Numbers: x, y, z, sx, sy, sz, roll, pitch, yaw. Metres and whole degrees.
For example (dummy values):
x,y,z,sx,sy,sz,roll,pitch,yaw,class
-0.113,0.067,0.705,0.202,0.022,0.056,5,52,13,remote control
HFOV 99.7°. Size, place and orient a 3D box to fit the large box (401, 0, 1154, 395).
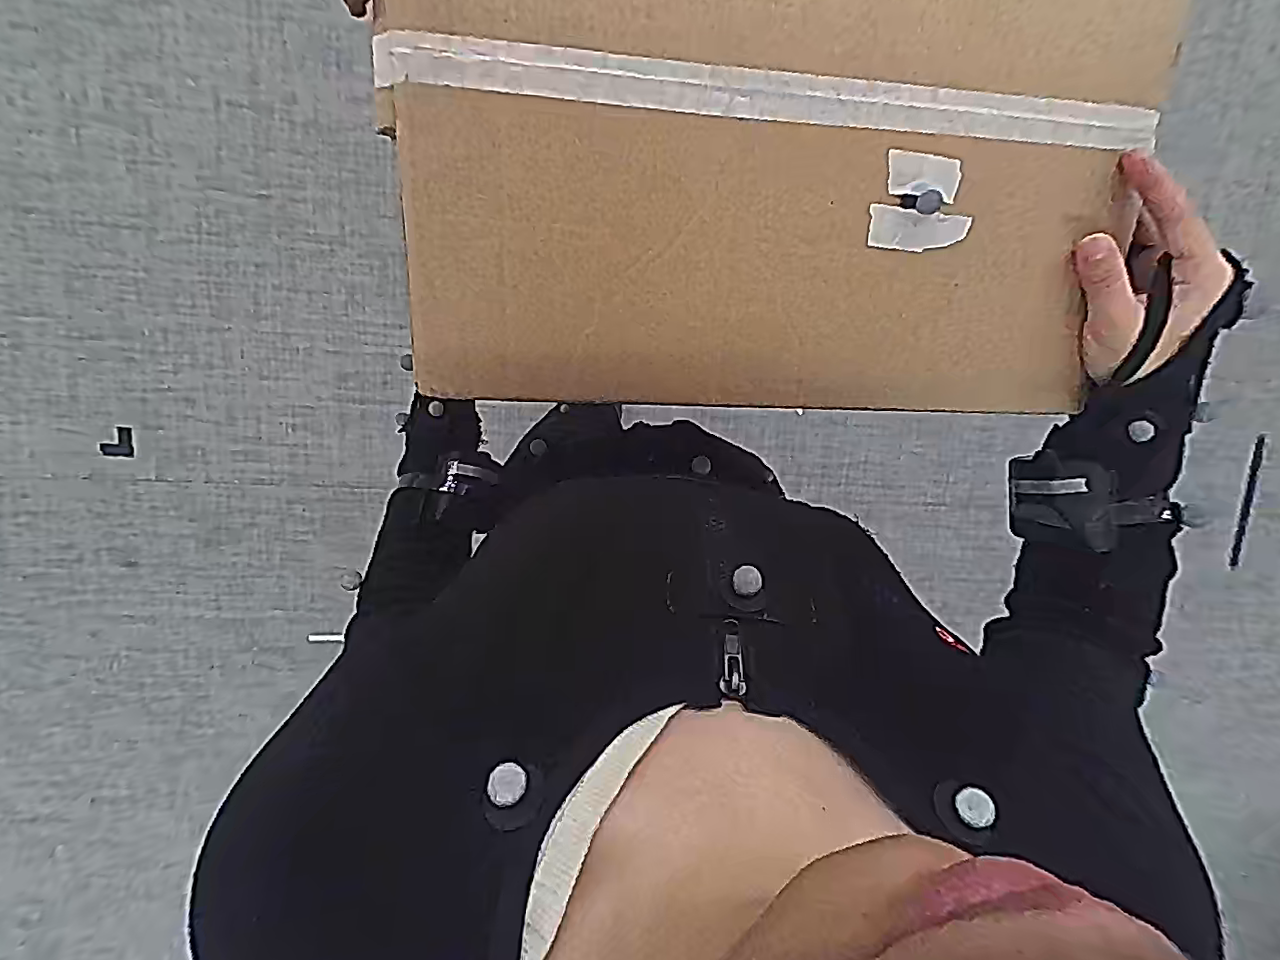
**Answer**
x,y,z,sx,sy,sz,roll,pitch,yaw,class
0.060,-0.241,0.429,0.408,0.320,0.320,0,106,-9,large box
